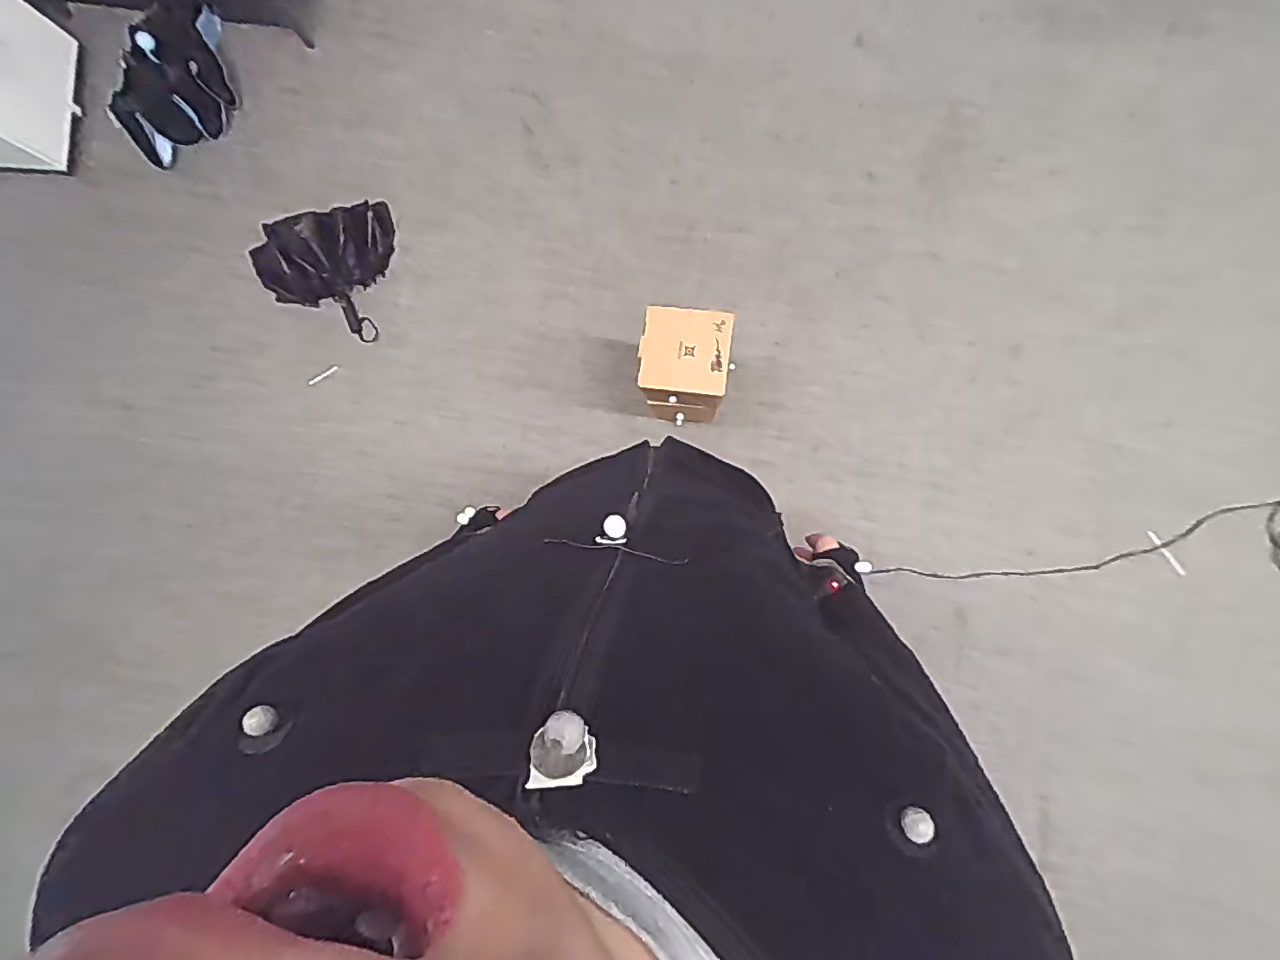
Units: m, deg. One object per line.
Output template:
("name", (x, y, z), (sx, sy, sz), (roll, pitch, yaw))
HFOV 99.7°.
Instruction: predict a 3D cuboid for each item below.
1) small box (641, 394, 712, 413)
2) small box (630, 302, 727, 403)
("small box", (0.097, -0.265, 1.312), (0.168, 0.176, 0.179), (5, 91, 5))
("small box", (0.083, -0.264, 1.149), (0.179, 0.176, 0.168), (7, 91, 5))
